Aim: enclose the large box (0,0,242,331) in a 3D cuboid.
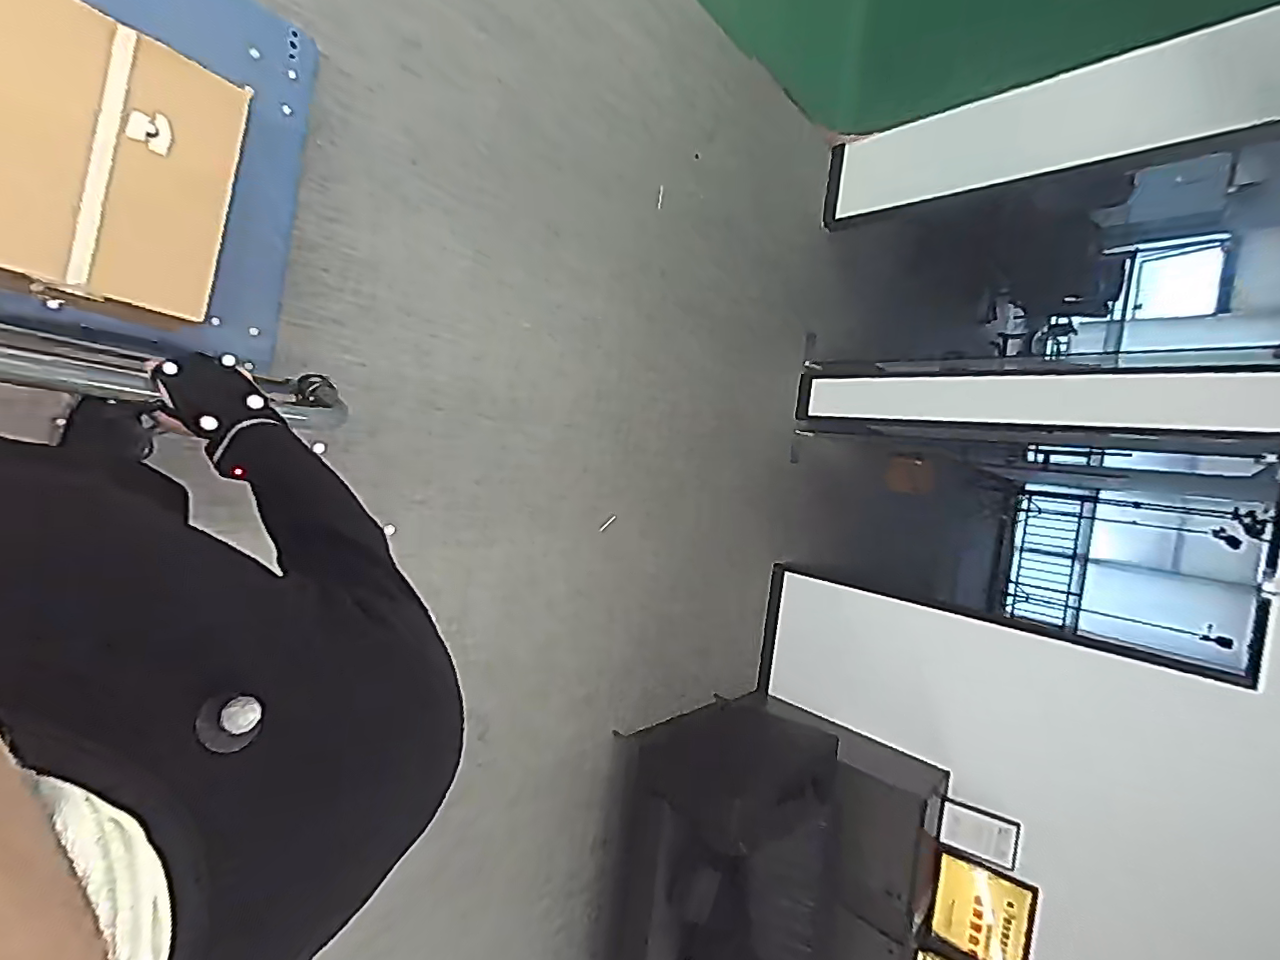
[{"bbox_3d":[-0.921,-0.502,0.913,0.320,0.320,0.408,12,88,-47],"label":"large box"}]
